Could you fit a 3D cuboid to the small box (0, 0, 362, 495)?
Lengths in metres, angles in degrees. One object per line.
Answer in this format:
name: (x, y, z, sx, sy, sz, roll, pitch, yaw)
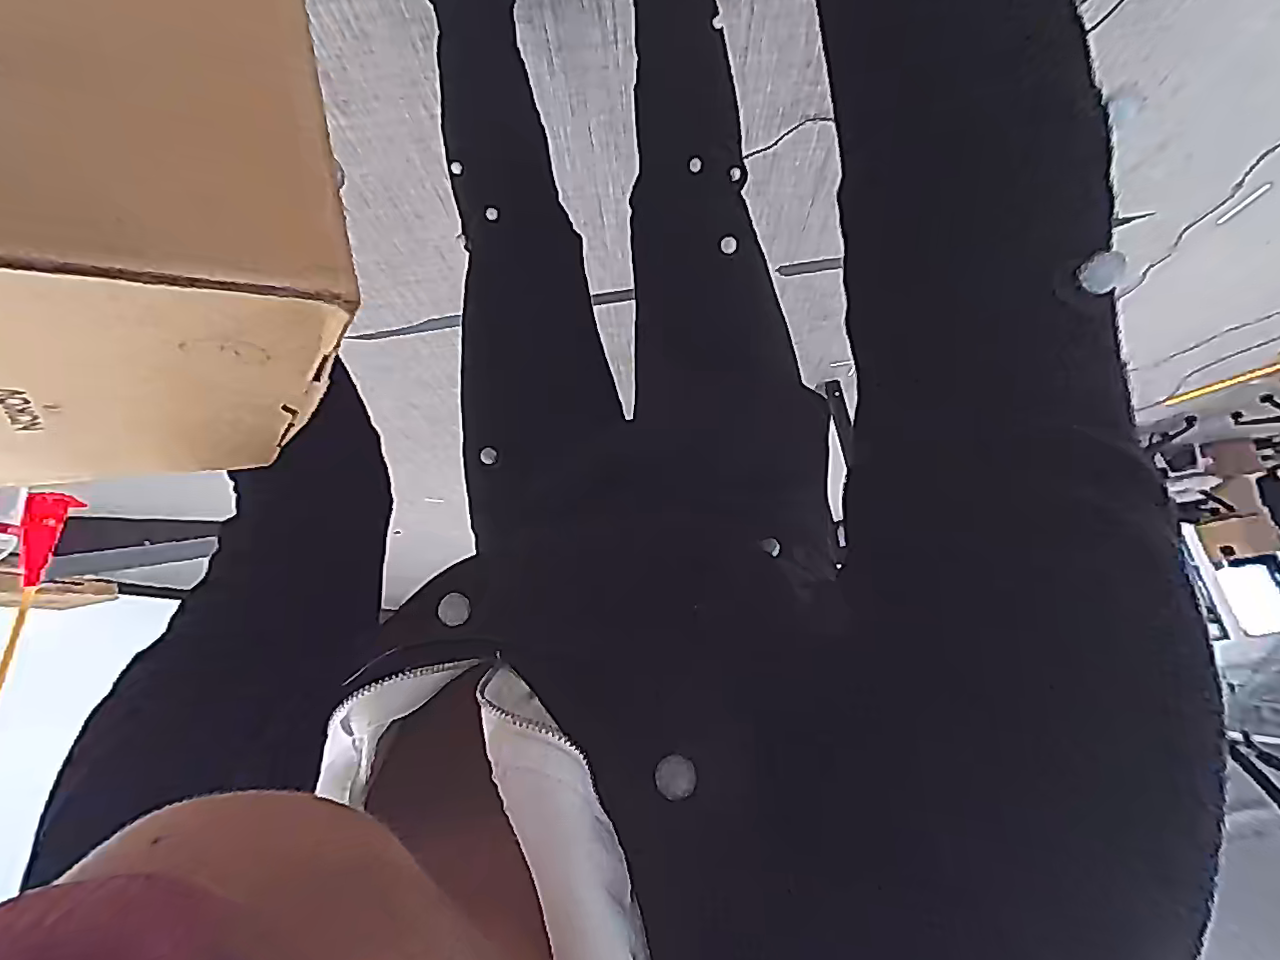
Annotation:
small box: (-0.204, -0.095, 0.148, 0.179, 0.176, 0.168, -7, 170, -42)
